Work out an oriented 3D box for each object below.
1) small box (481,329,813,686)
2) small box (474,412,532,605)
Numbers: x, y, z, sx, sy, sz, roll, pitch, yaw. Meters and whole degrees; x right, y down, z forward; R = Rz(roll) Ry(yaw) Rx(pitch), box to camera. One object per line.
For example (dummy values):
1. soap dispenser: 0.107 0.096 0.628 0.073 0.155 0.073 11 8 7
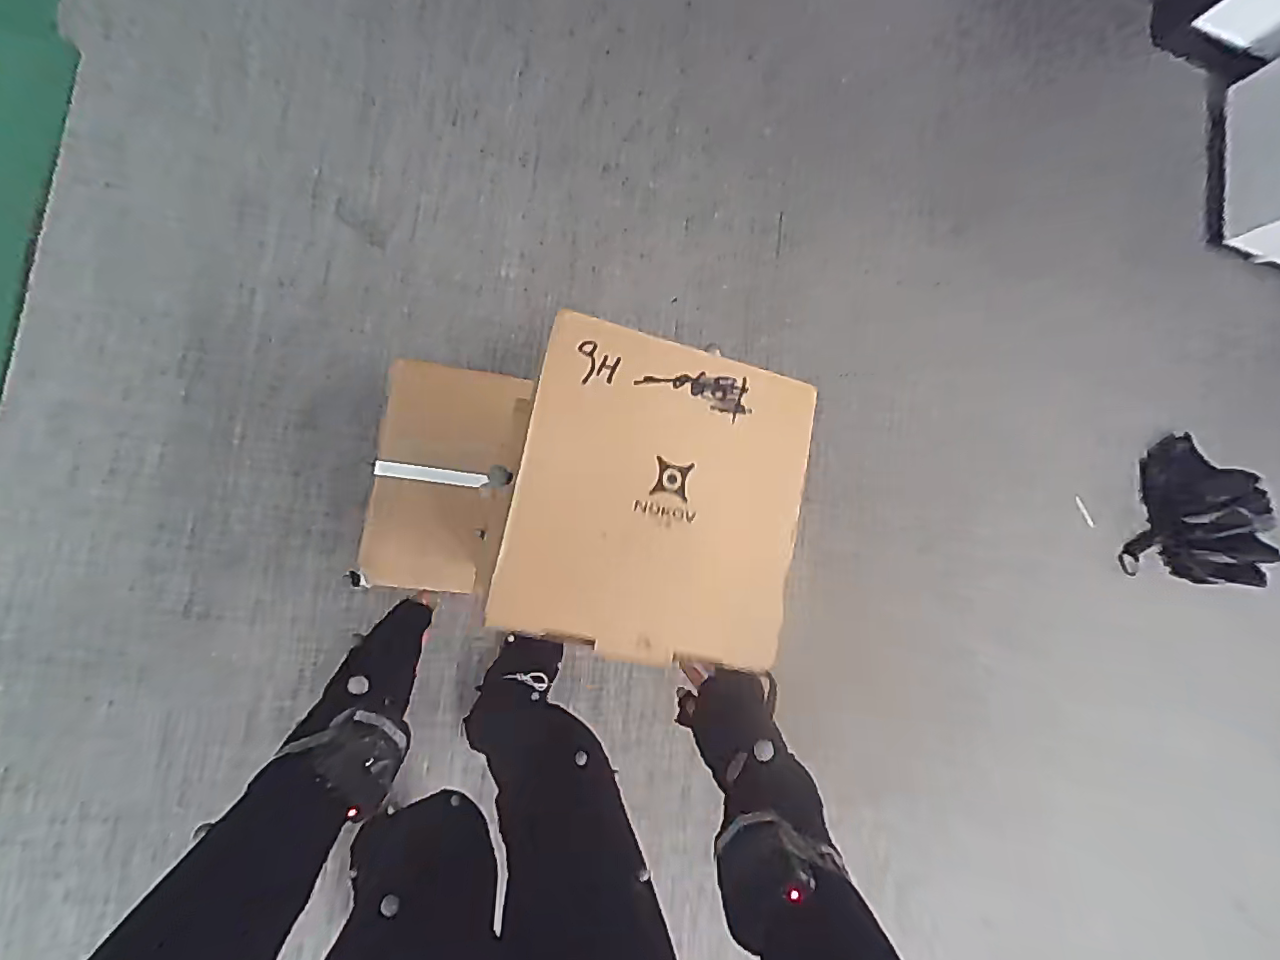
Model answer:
1. small box: -0.007 0.023 0.383 0.168 0.176 0.179 13 83 -14
2. small box: -0.055 0.044 0.538 0.179 0.176 0.168 13 82 -13
